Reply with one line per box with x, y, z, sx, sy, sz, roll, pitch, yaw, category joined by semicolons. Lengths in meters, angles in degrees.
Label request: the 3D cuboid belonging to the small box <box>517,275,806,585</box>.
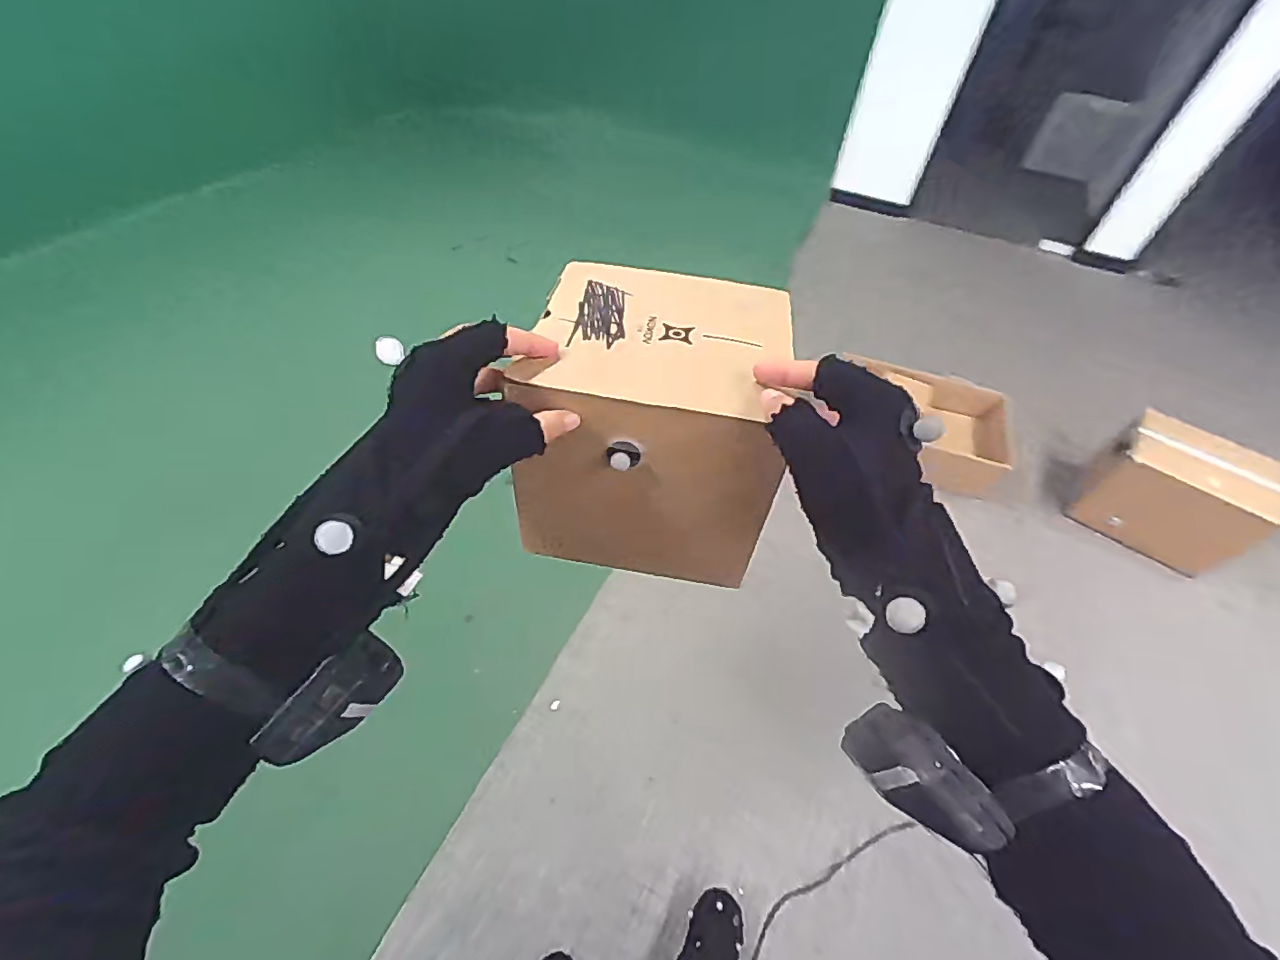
0.018;-0.037;0.427;0.179;0.176;0.168;10;46;3;small box

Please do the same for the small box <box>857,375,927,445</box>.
0.936;-0.258;2.018;0.179;0.176;0.168;24;54;12;small box
